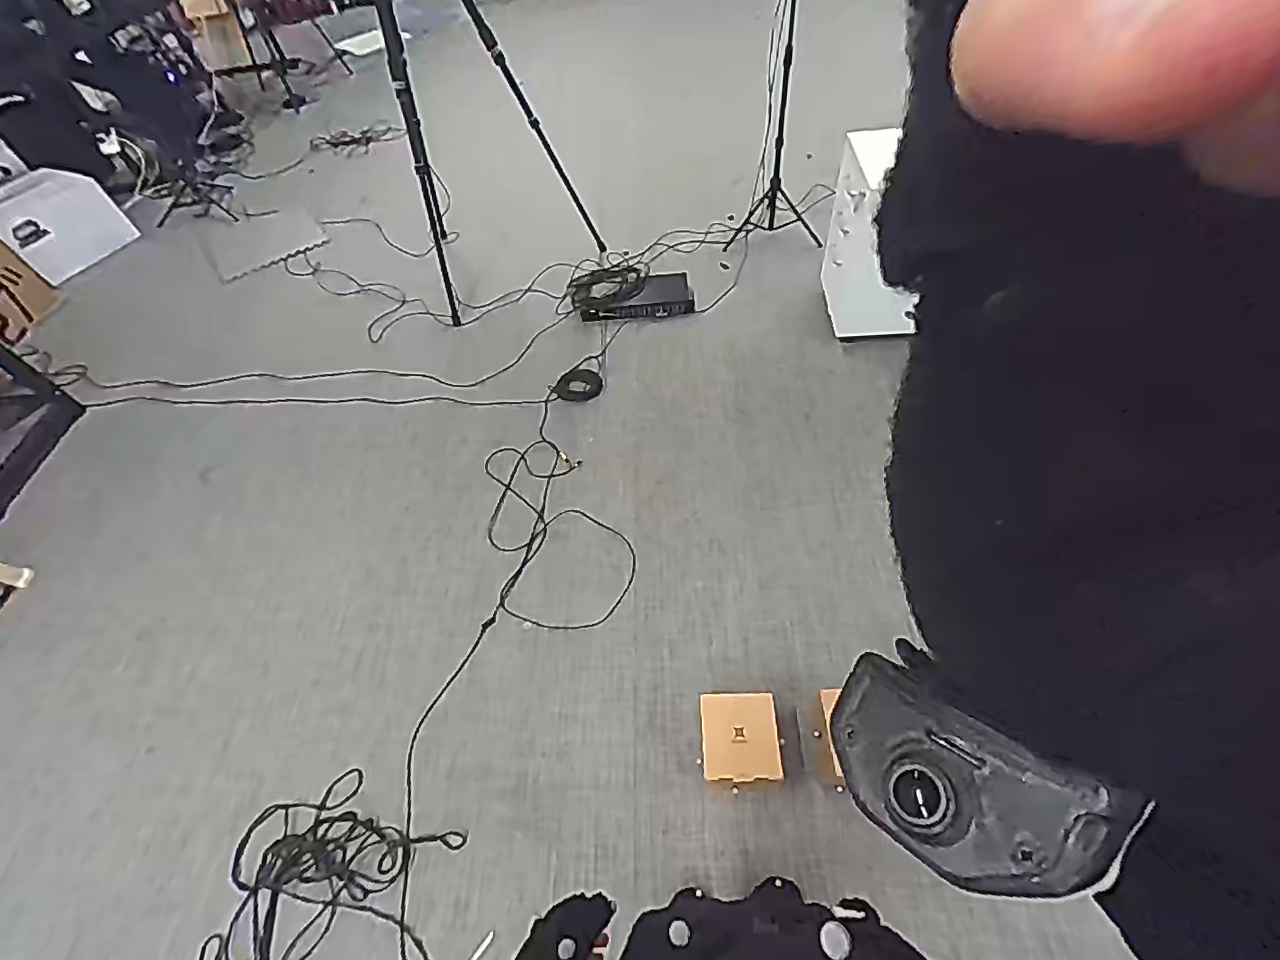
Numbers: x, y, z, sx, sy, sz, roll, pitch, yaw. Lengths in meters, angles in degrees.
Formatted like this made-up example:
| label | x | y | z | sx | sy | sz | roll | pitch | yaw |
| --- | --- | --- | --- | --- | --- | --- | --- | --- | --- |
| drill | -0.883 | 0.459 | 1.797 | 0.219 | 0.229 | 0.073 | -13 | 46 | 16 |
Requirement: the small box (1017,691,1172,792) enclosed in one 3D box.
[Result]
| label | x | y | z | sx | sy | sz | roll | pitch | yaw |
| --- | --- | --- | --- | --- | --- | --- | --- | --- | --- |
| small box | 0.969 | 0.570 | 1.173 | 0.168 | 0.176 | 0.179 | -2 | 53 | 5 |

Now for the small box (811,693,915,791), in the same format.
| label | x | y | z | sx | sy | sz | roll | pitch | yaw |
| --- | --- | --- | --- | --- | --- | --- | --- | --- | --- |
| small box | 0.490 | 0.592 | 1.215 | 0.168 | 0.176 | 0.179 | -4 | 52 | 5 |

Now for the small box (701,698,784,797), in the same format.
| label | x | y | z | sx | sy | sz | roll | pitch | yaw |
| --- | --- | --- | --- | --- | --- | --- | --- | --- | --- |
| small box | 0.226 | 0.613 | 1.237 | 0.168 | 0.176 | 0.179 | -3 | 53 | 5 |
